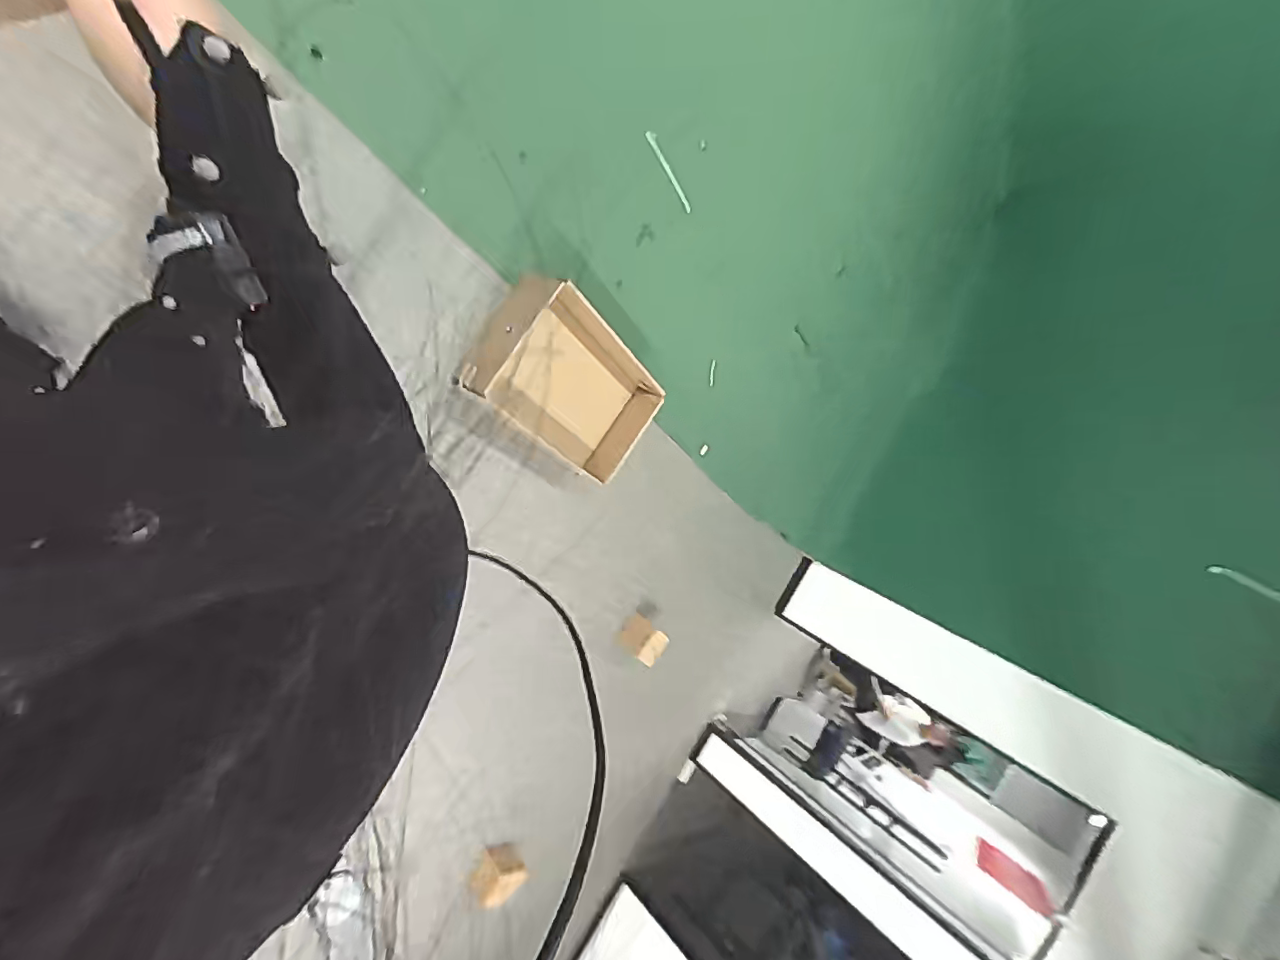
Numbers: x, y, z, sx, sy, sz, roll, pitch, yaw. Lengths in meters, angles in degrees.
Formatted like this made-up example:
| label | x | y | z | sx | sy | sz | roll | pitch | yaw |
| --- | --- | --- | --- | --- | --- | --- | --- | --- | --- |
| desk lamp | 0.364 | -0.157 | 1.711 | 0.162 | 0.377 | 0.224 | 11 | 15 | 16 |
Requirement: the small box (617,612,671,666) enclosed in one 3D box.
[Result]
| label | x | y | z | sx | sy | sz | roll | pitch | yaw |
| --- | --- | --- | --- | --- | --- | --- | --- | --- | --- |
| small box | 0.019 | 0.774 | 2.649 | 0.168 | 0.176 | 0.179 | -51 | 140 | -13 |

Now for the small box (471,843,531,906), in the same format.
| label | x | y | z | sx | sy | sz | roll | pitch | yaw |
| --- | --- | --- | --- | --- | --- | --- | --- | --- | --- |
| small box | -0.660 | 1.860 | 2.562 | 0.168 | 0.176 | 0.179 | -59 | 141 | -5 |
